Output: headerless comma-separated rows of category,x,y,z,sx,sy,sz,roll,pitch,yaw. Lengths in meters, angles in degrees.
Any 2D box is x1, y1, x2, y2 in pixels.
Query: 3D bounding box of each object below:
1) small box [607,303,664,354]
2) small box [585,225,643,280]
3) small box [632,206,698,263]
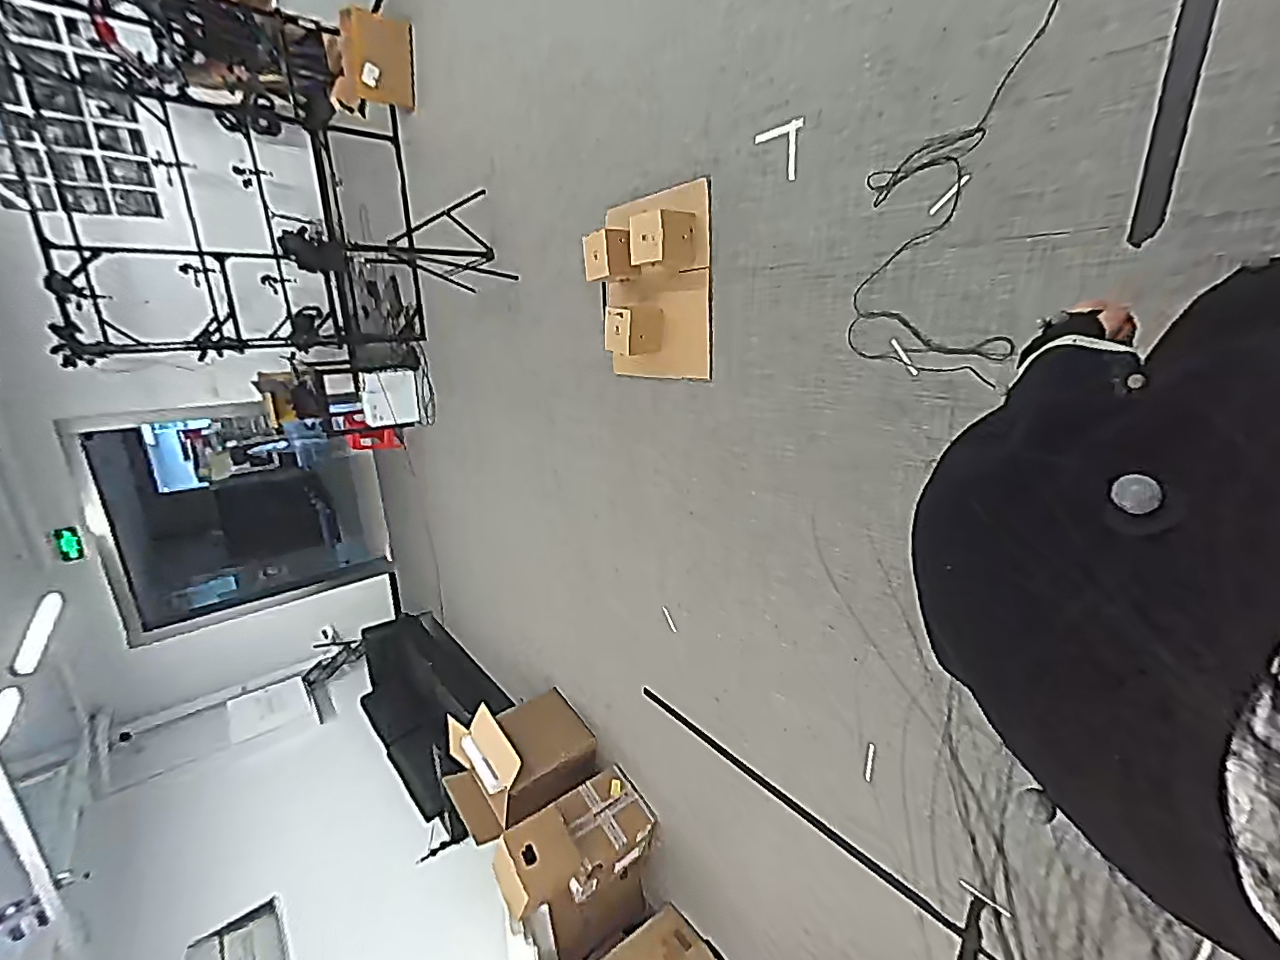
small box,-0.017,-0.618,2.193,0.168,0.176,0.179,28,124,44
small box,-0.103,-0.922,2.205,0.168,0.176,0.179,10,110,51
small box,0.090,-0.886,1.967,0.179,0.176,0.168,16,115,47
